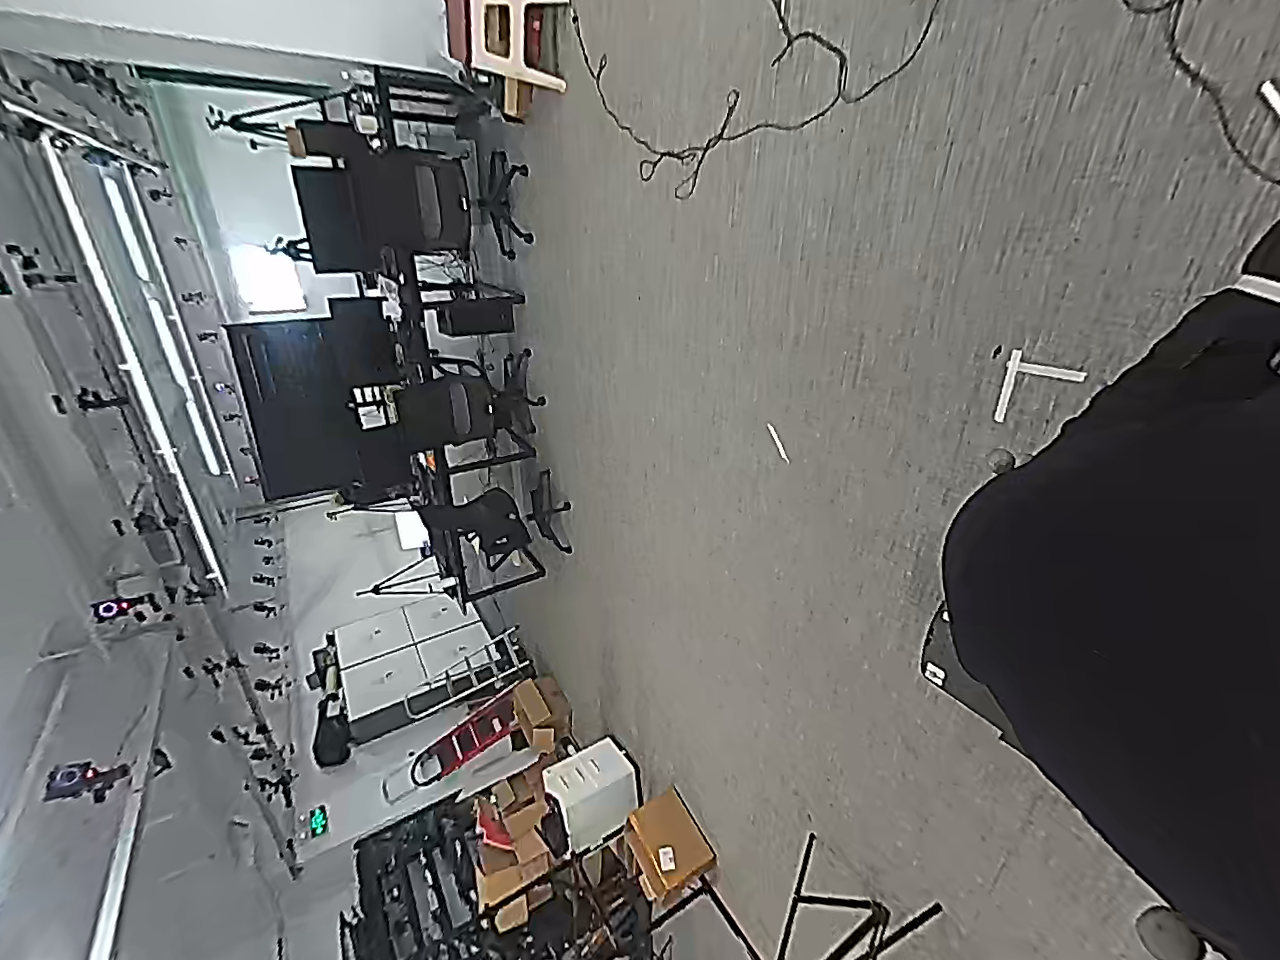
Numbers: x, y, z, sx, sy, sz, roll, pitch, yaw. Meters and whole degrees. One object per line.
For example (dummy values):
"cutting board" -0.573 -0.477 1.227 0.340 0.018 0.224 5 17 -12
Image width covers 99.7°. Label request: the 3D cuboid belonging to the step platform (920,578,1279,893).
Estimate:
"step platform" 1.002 0.520 1.223 0.684 0.204 0.286 34 132 49
